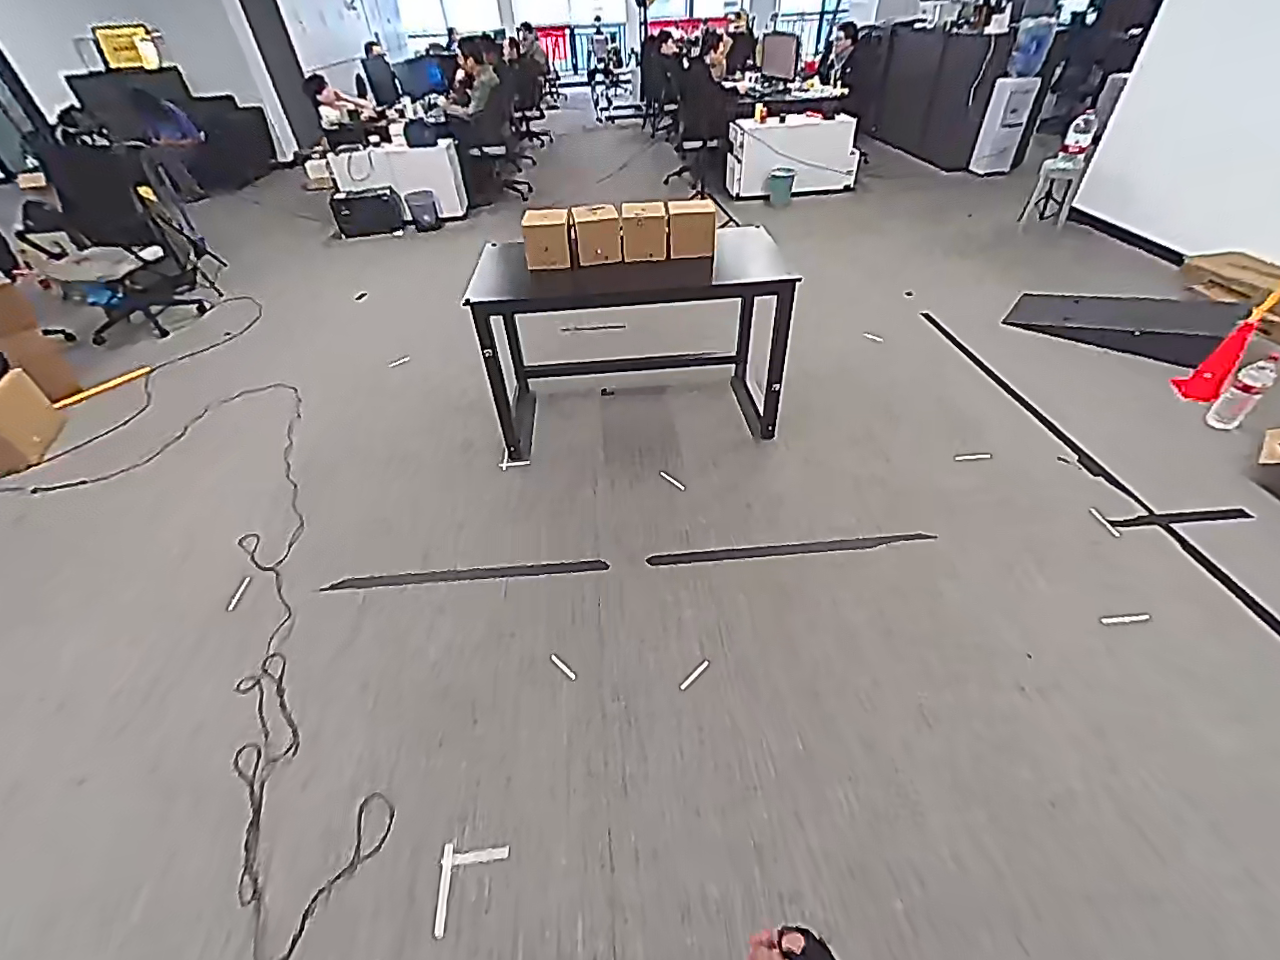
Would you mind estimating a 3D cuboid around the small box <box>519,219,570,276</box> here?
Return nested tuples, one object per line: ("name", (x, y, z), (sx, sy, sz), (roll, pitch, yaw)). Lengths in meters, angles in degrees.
("small box", (-0.368, -0.909, 2.123), (0.168, 0.176, 0.179), (-3, 41, 0))
